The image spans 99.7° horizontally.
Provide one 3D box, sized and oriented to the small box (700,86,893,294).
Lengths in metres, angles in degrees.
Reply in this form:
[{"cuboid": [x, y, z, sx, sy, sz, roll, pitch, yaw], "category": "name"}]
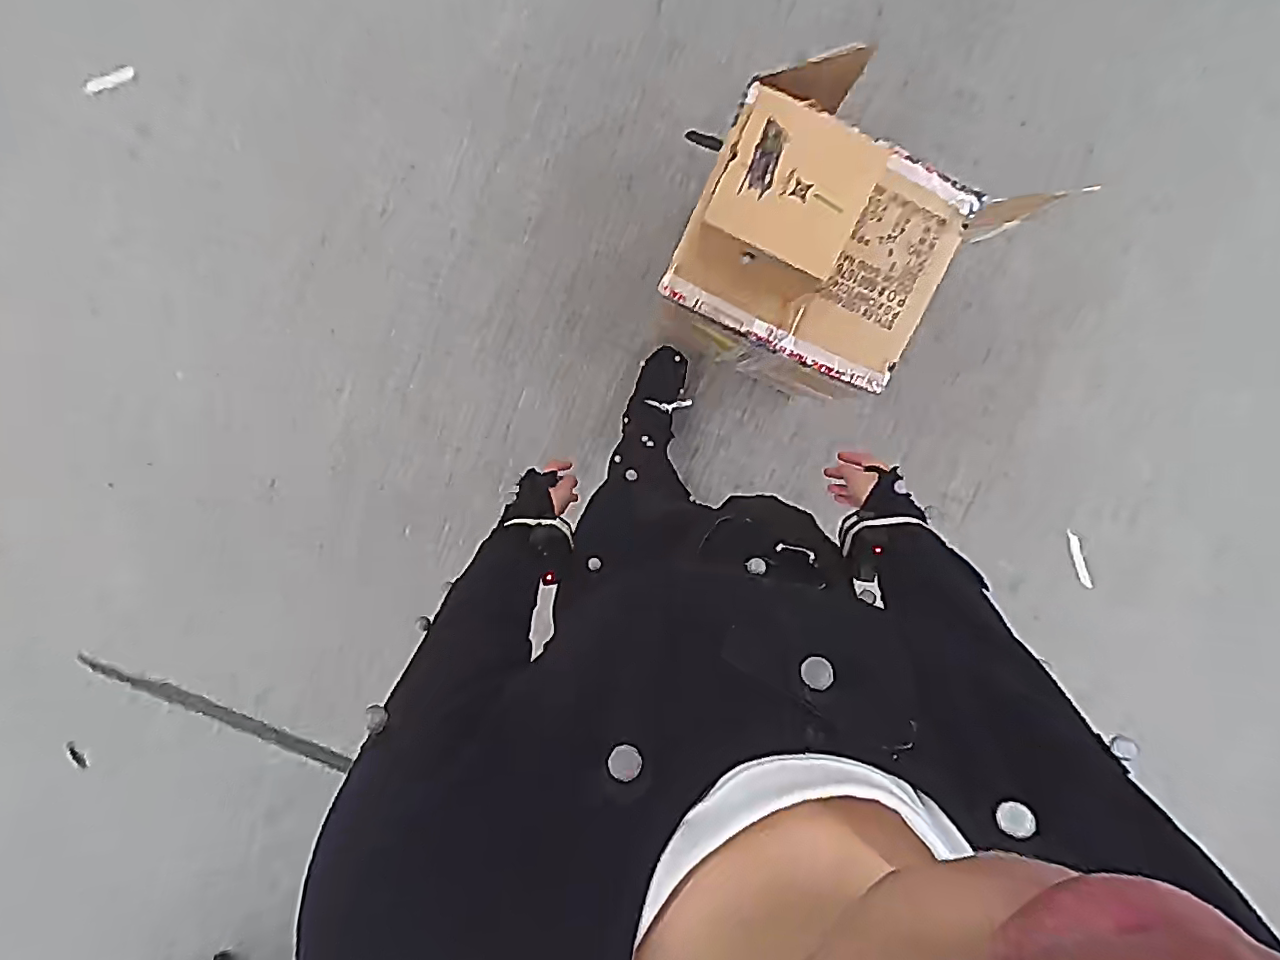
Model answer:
[{"cuboid": [0.193, -0.371, 0.732, 0.179, 0.176, 0.168, 26, 100, -2], "category": "small box"}]
